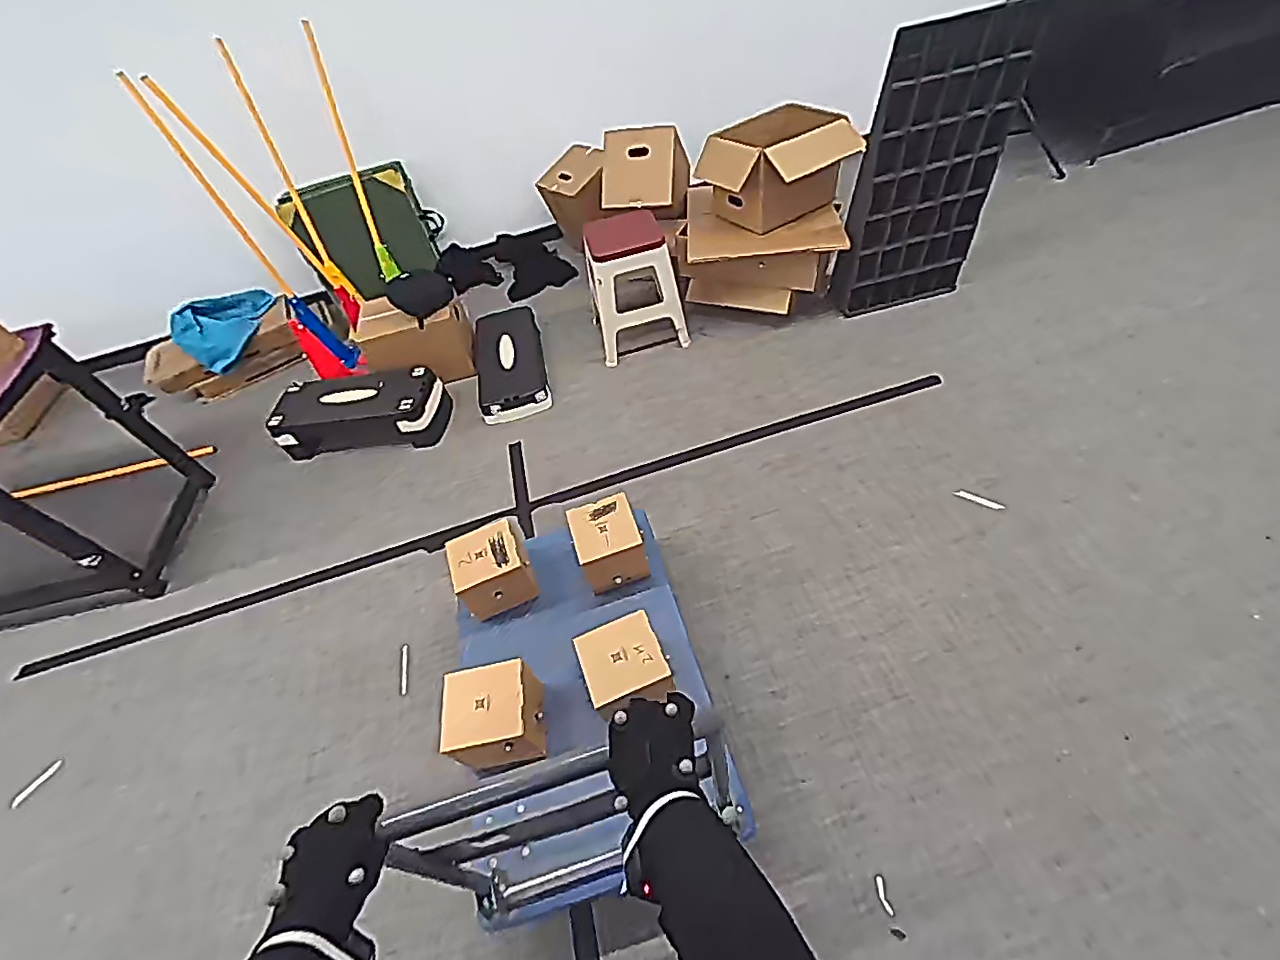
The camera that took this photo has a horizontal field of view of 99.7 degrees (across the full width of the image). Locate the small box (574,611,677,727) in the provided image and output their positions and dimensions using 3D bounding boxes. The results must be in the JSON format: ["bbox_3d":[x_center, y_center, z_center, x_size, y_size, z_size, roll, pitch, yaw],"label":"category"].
[{"bbox_3d":[-0.031,0.434,1.229,0.179,0.176,0.168,-21,51,-6],"label":"small box"}]

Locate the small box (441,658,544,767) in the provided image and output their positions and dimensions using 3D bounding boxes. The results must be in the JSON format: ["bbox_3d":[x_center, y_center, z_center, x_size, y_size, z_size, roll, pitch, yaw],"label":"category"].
[{"bbox_3d":[-0.323,0.525,1.212,0.179,0.176,0.168,-12,50,-1],"label":"small box"}]

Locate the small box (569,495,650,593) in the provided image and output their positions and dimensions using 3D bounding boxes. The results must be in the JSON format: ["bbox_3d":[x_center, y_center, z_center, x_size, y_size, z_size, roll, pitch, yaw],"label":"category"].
[{"bbox_3d":[-0.081,0.174,1.452,0.168,0.176,0.179,-18,51,-4],"label":"small box"}]
